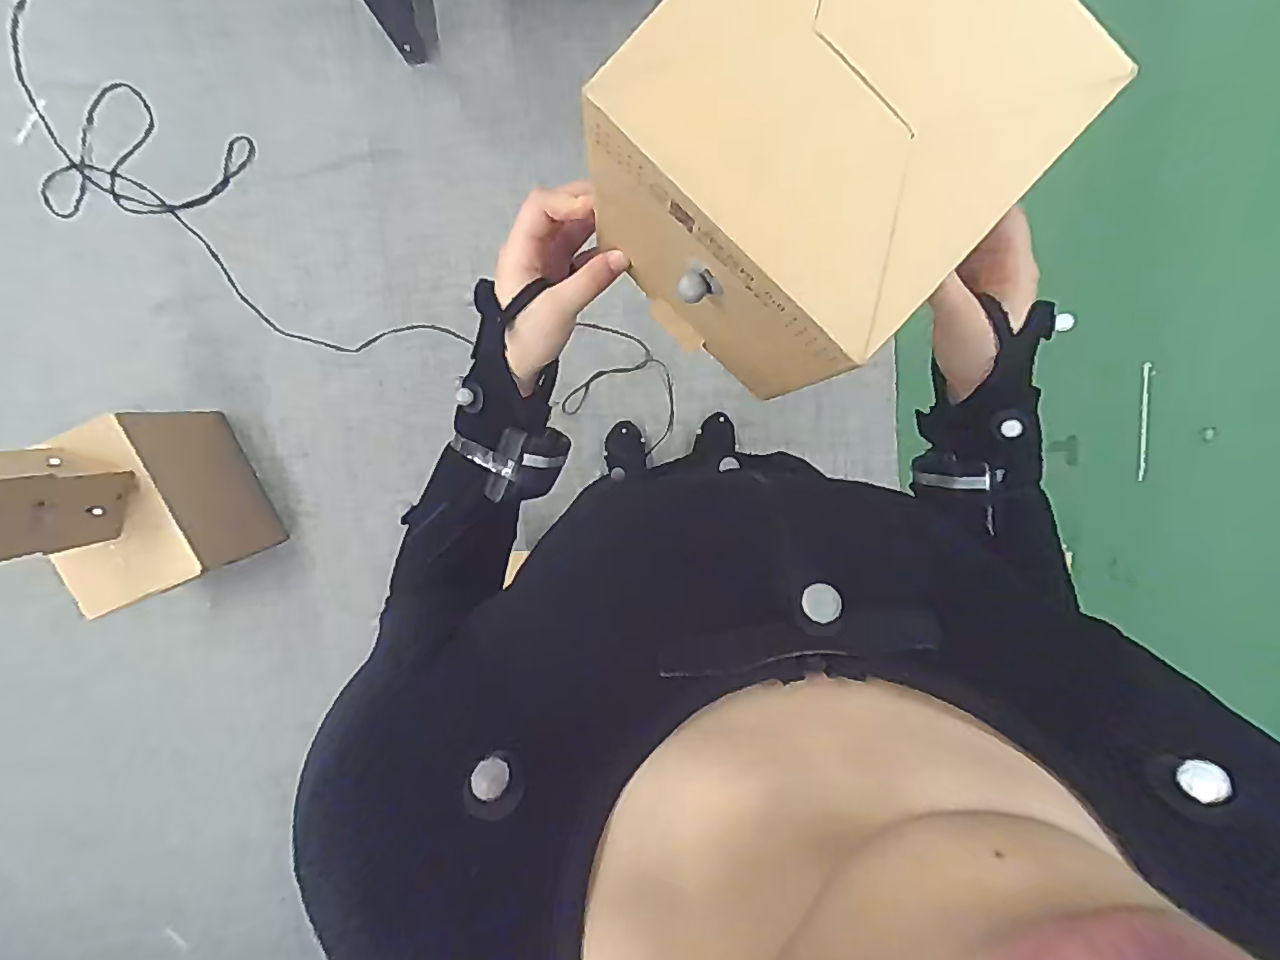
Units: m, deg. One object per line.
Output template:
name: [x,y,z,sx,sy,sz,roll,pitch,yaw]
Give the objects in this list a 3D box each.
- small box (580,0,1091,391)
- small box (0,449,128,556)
small box: [0.085,-0.173,0.306,0.168,0.176,0.179,43,91,-3]
small box: [-1.231,0.038,1.122,0.179,0.176,0.168,17,97,-4]
